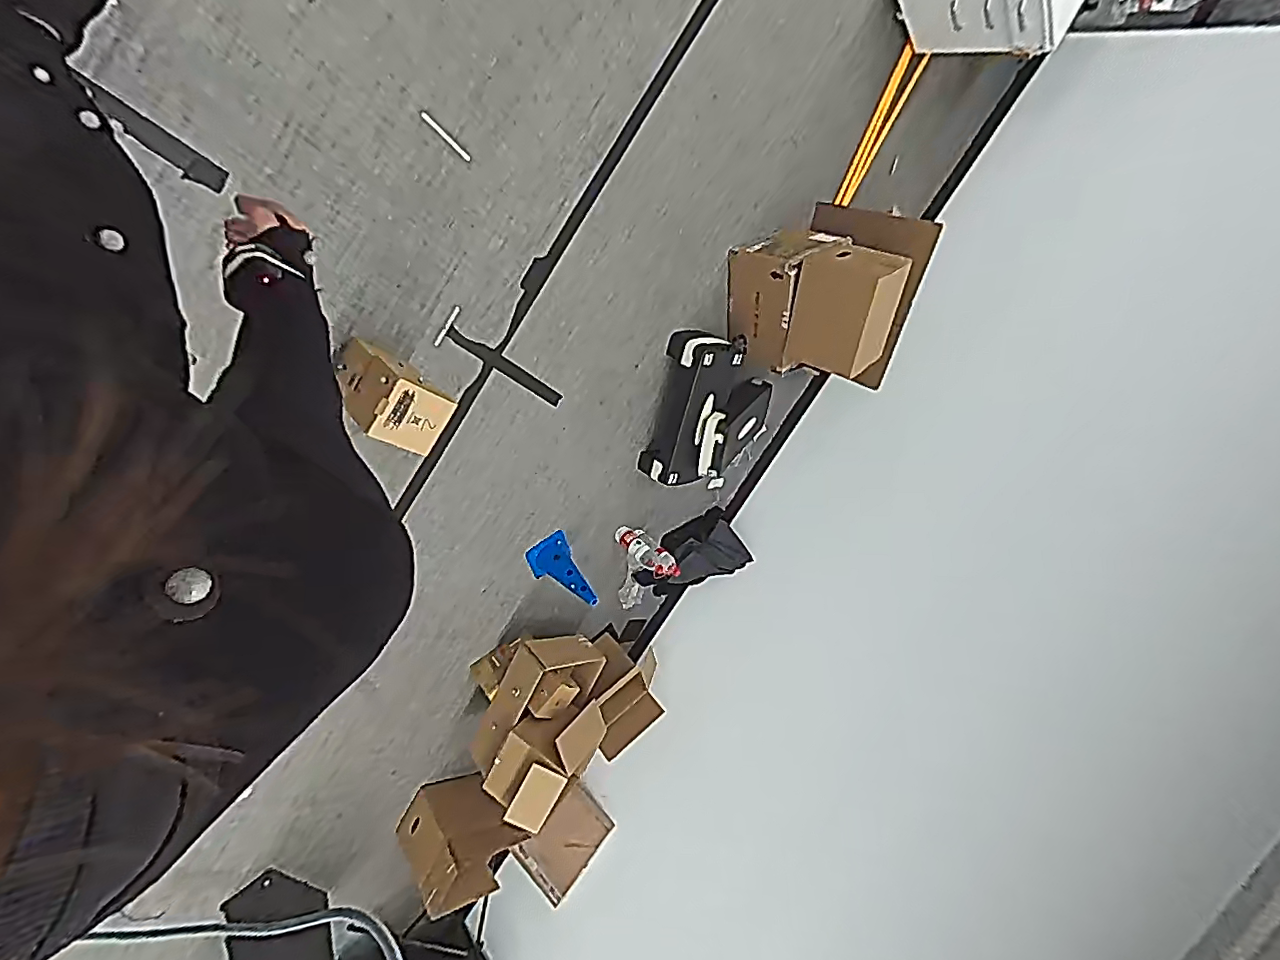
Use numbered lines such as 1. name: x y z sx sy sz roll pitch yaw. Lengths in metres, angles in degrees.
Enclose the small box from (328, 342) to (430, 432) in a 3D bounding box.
1. small box: -0.733 -0.264 1.516 0.179 0.176 0.168 24 100 -51
